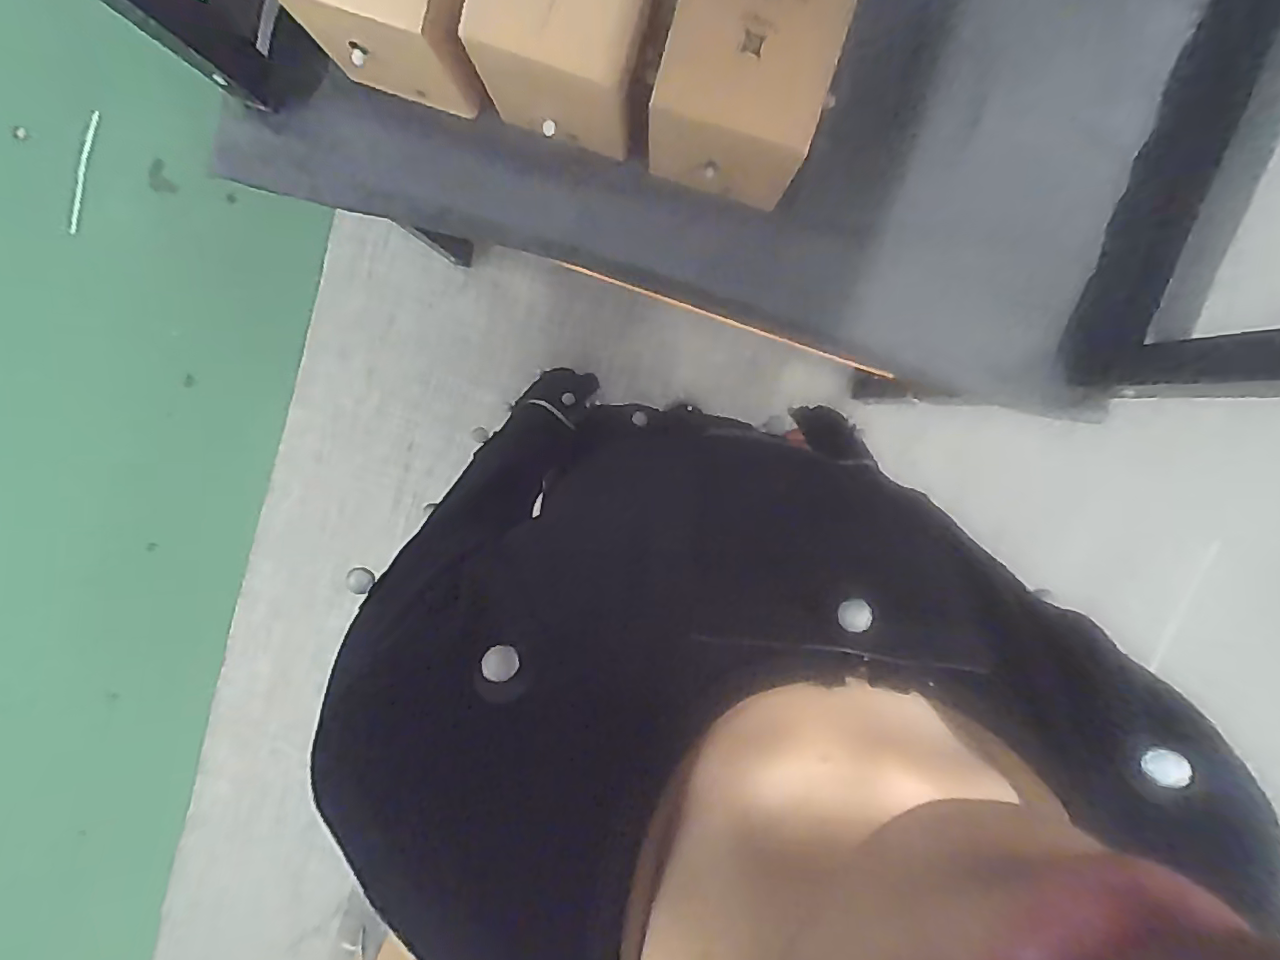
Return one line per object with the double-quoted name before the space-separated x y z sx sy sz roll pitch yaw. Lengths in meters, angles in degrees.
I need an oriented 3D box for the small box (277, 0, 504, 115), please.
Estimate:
"small box" -0.262 -0.547 0.591 0.168 0.176 0.179 17 97 -2
